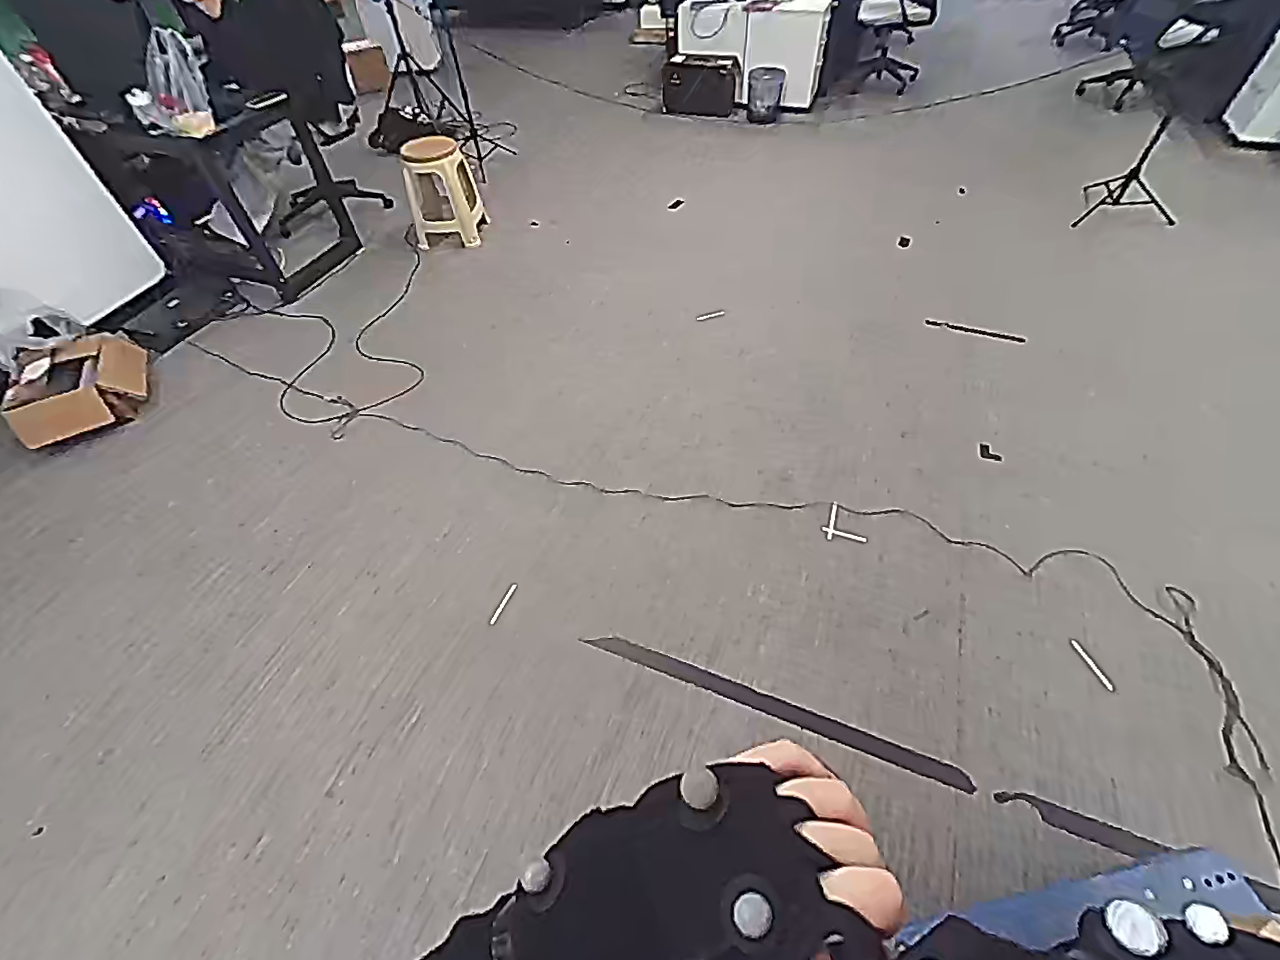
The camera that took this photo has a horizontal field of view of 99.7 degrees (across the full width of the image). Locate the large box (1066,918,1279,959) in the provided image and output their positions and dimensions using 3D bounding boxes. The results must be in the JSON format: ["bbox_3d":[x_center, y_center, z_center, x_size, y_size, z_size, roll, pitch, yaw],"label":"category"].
[{"bbox_3d":[0.808,0.892,0.717,0.320,0.320,0.408,-20,54,-11],"label":"large box"}]
